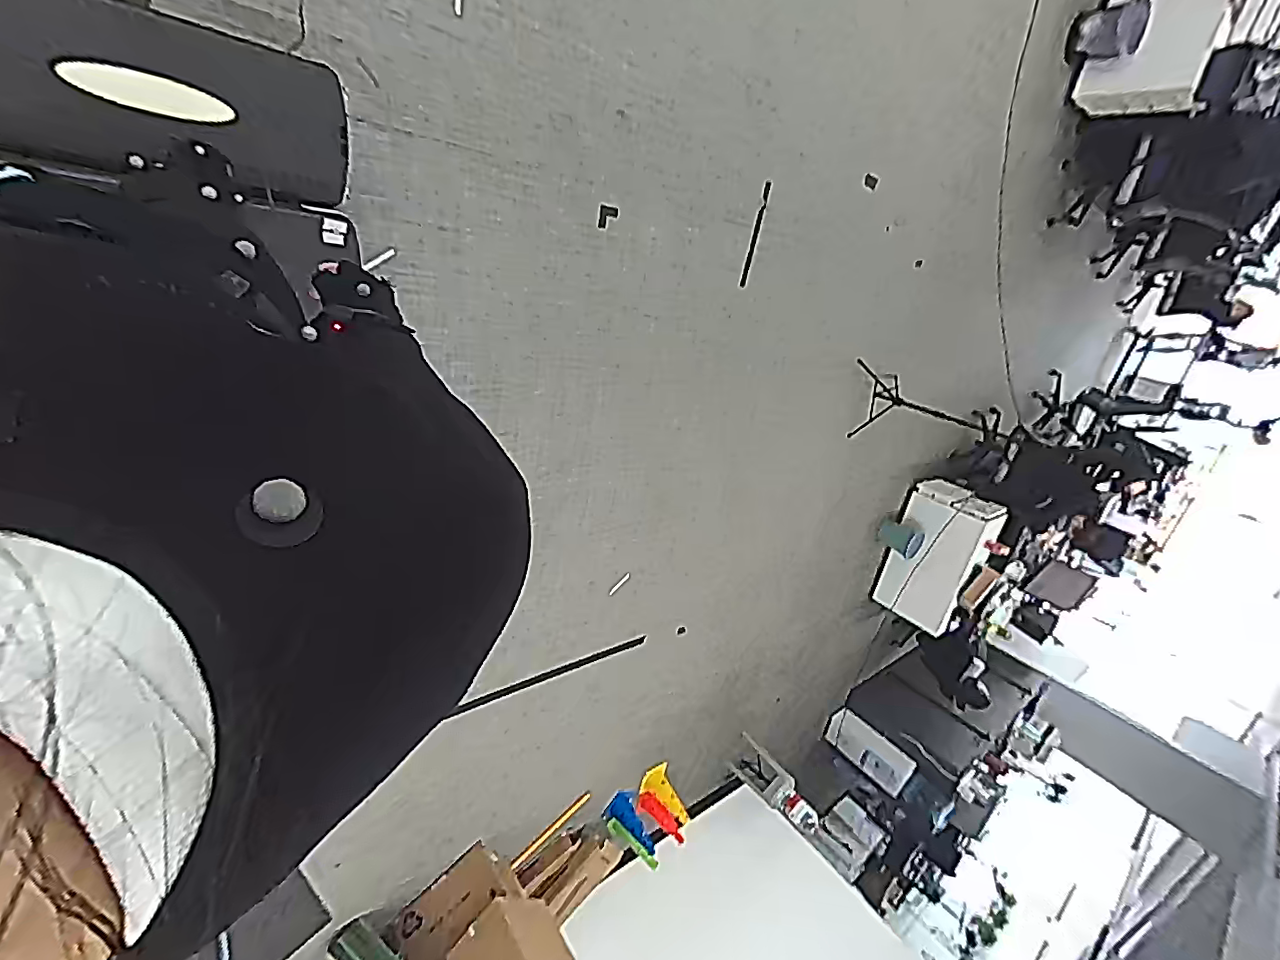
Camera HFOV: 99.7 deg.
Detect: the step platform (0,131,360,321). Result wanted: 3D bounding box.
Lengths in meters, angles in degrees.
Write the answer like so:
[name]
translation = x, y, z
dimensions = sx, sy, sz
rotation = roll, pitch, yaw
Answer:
[step platform]
translation = -0.958, -0.495, 1.108
dimensions = 0.684, 0.204, 0.286
rotation = -8, 118, -37
